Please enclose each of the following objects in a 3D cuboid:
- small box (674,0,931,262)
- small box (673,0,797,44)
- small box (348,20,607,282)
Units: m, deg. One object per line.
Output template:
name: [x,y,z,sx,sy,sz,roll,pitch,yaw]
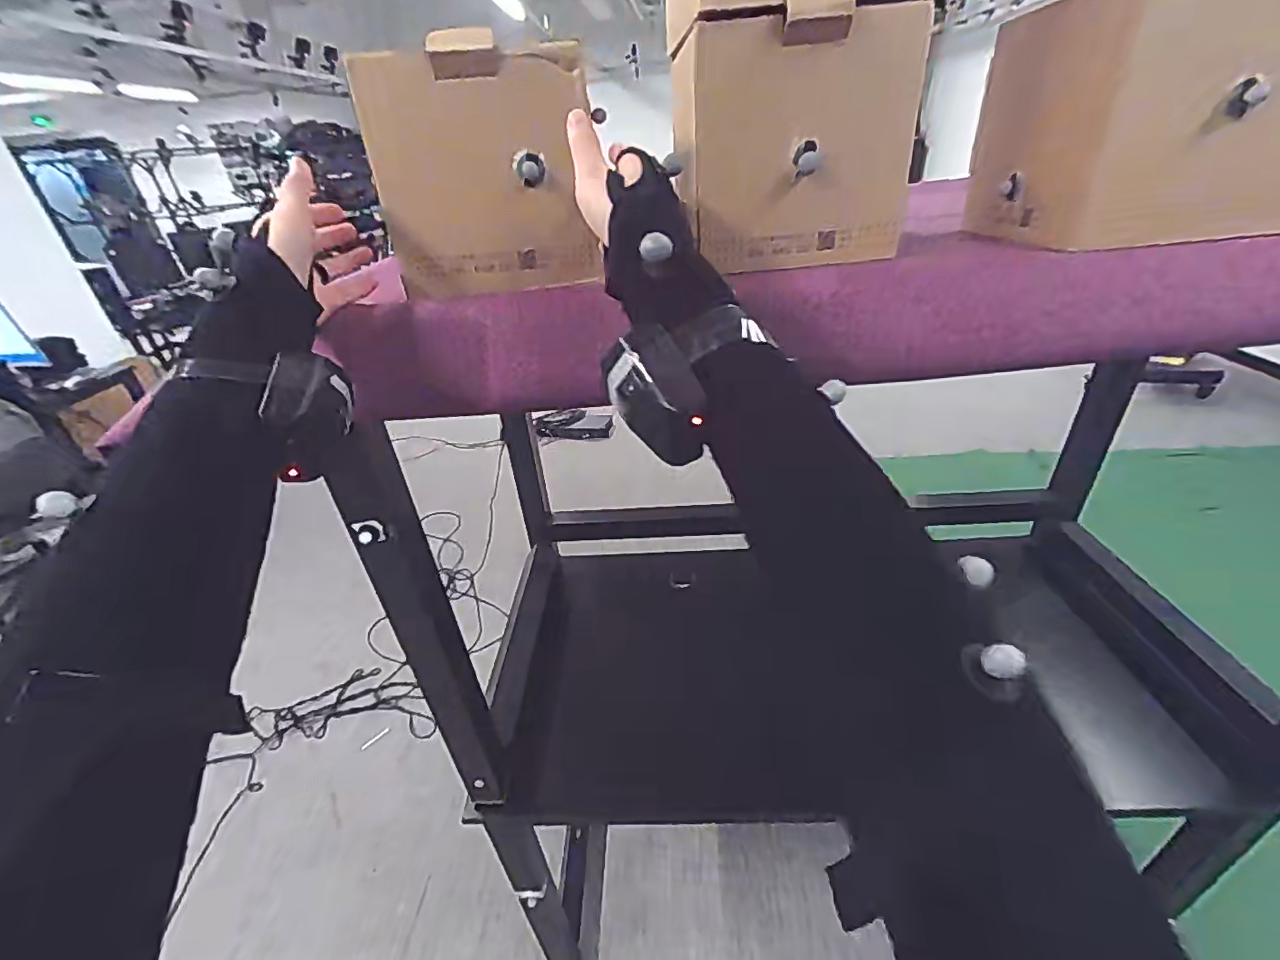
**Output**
small box: [0.122,-0.293,0.473,0.168,0.176,0.179,-5,31,1]
small box: [0.110,-0.431,0.385,0.168,0.176,0.179,-6,29,-1]
small box: [-0.118,-0.277,0.480,0.168,0.176,0.179,-5,30,-1]
